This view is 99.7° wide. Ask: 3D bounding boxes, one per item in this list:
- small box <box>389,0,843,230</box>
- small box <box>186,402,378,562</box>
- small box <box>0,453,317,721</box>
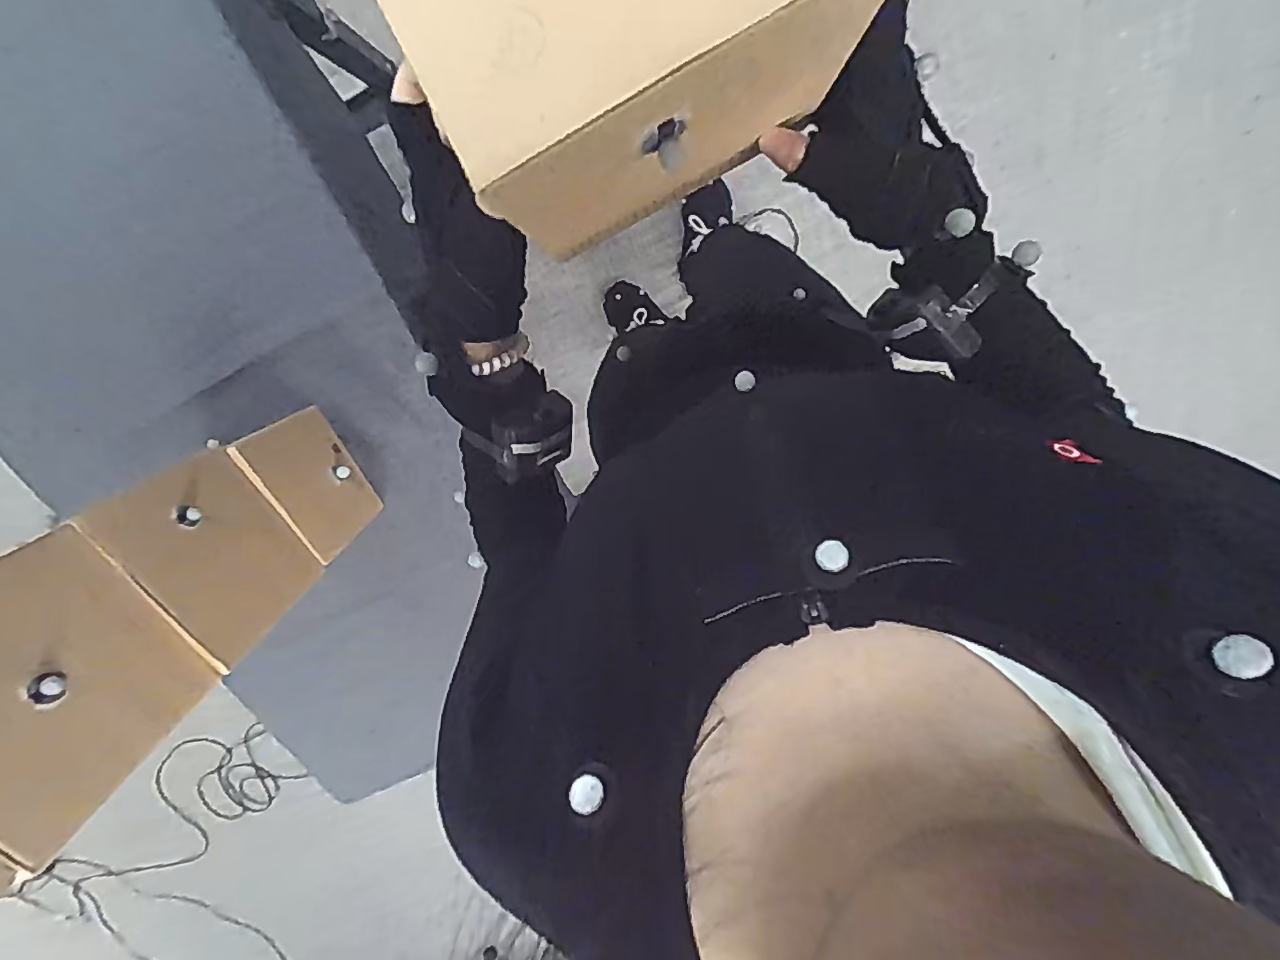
[{"bbox_3d":[-0.015,-0.242,0.245,0.179,0.176,0.168,-25,101,8],"label":"small box"},{"bbox_3d":[-0.475,0.022,0.680,0.179,0.176,0.168,-22,112,8],"label":"small box"},{"bbox_3d":[-0.474,0.090,0.531,0.168,0.176,0.179,-24,111,10],"label":"small box"}]
